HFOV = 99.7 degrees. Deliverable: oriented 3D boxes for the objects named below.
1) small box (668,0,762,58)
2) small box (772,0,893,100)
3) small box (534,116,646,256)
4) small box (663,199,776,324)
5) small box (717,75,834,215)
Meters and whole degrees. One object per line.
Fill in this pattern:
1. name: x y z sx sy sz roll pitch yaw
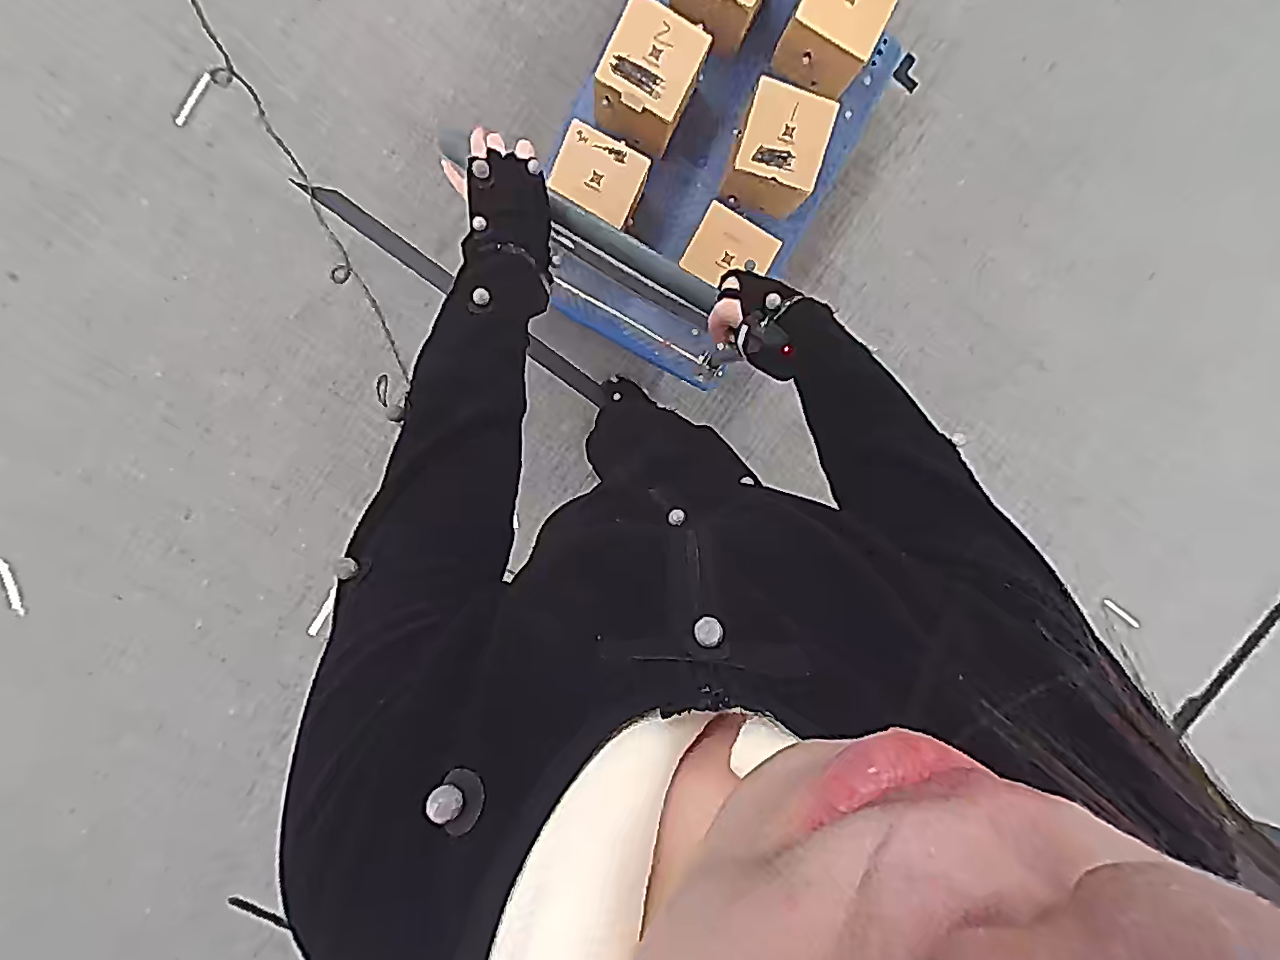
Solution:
1. small box: 0.170 -1.009 1.072 0.168 0.176 0.179 30 97 -9
2. small box: 0.390 -0.933 1.105 0.168 0.176 0.179 25 97 -8
3. small box: -0.102 -0.593 1.121 0.168 0.176 0.179 25 97 -9
4. small box: 0.160 -0.458 1.168 0.168 0.176 0.179 29 96 -9
5. small box: 0.273 -0.688 1.137 0.168 0.176 0.179 16 97 -7
